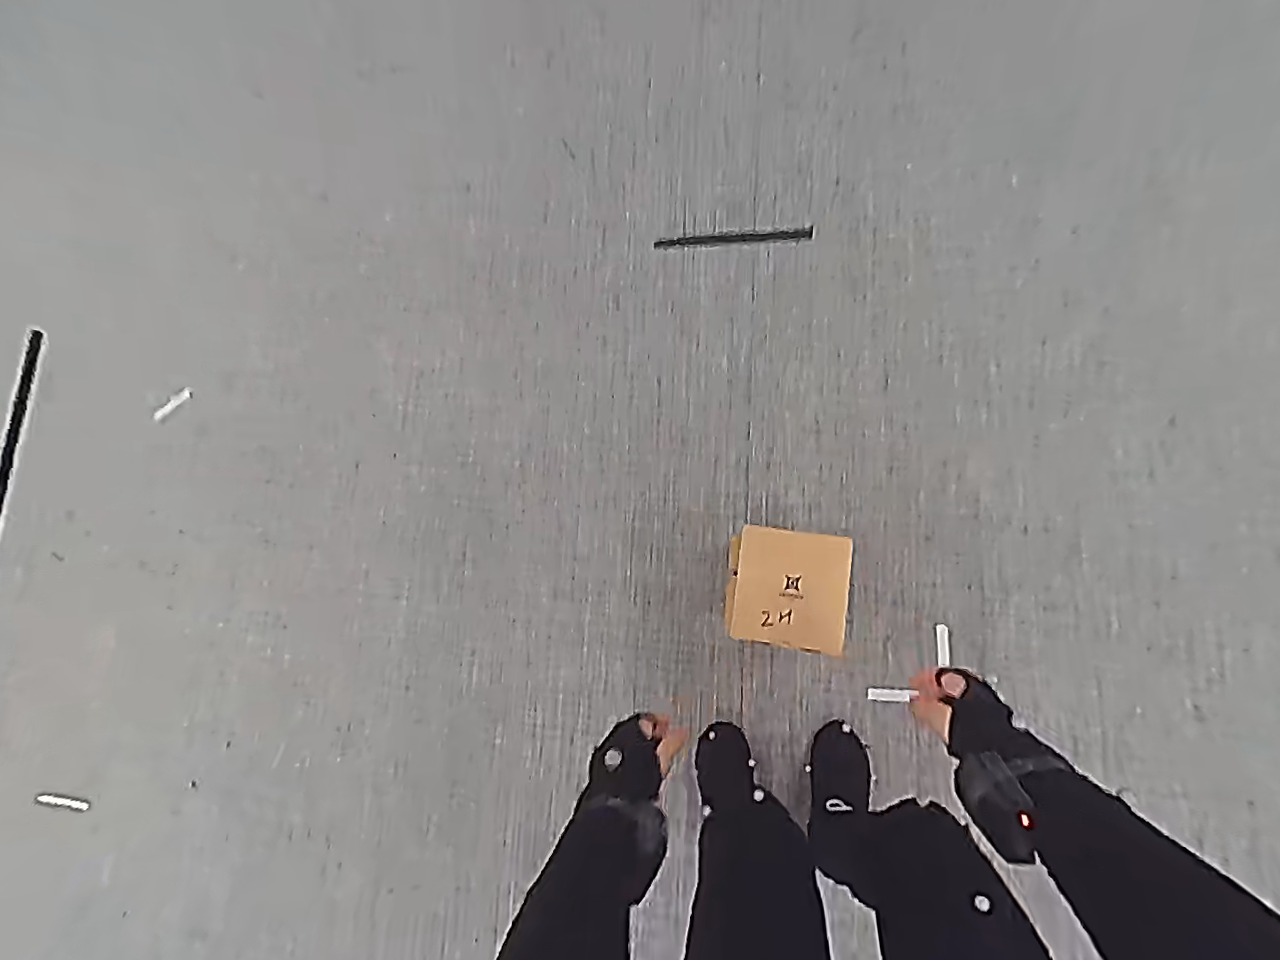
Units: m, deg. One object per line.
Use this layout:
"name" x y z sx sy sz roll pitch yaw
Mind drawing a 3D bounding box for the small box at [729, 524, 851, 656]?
"small box" 0.239 0.175 0.893 0.168 0.176 0.179 7 83 12
